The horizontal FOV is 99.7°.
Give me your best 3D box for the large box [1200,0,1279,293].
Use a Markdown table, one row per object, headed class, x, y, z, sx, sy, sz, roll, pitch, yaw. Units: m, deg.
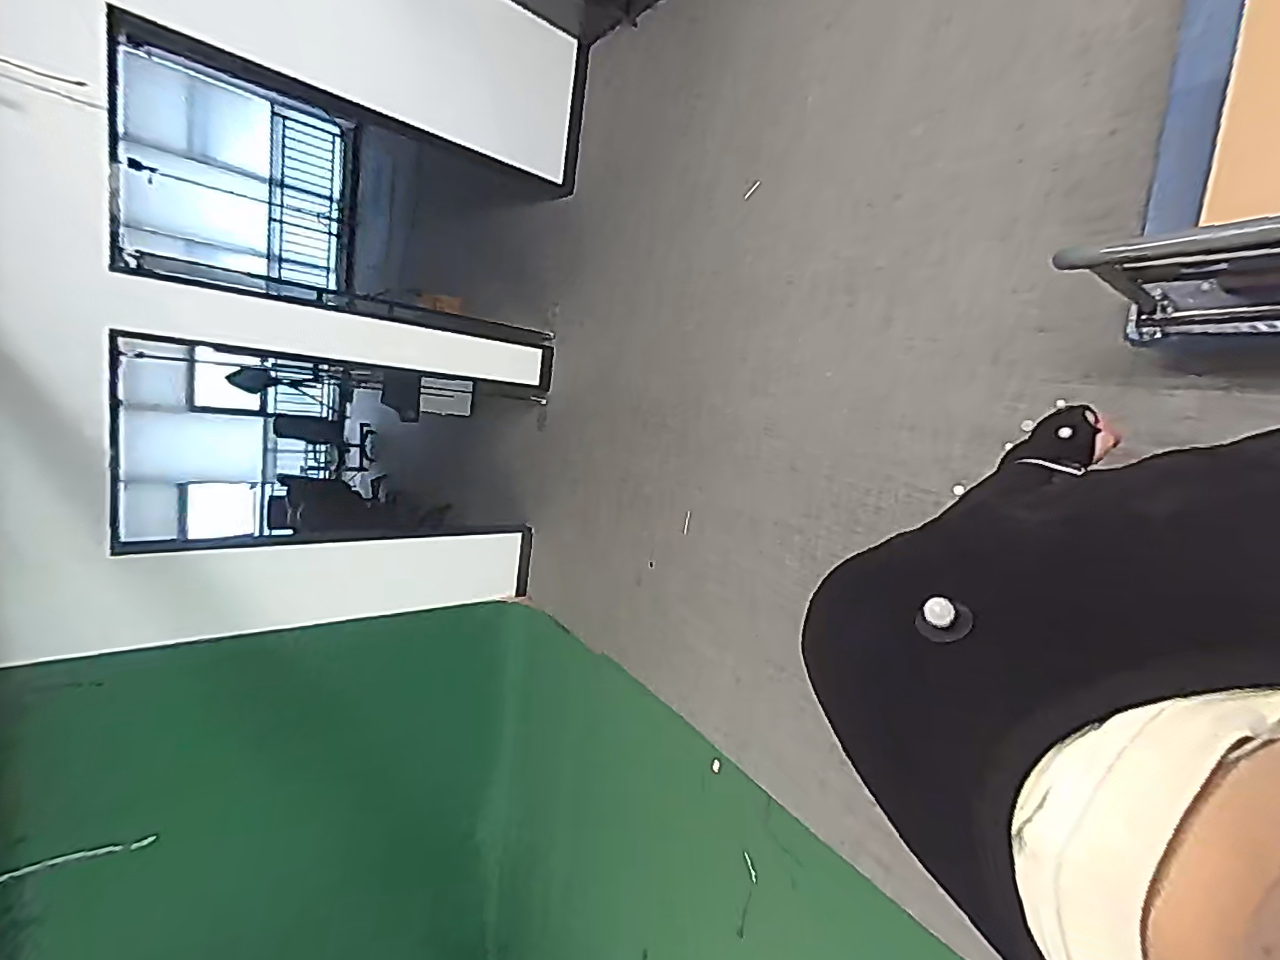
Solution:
| class | x | y | z | sx | sy | sz | roll | pitch | yaw |
| --- | --- | --- | --- | --- | --- | --- | --- | --- | --- |
| large box | 1.116 | -0.537 | 0.808 | 0.320 | 0.320 | 0.408 | 13 | 98 | 51 |
